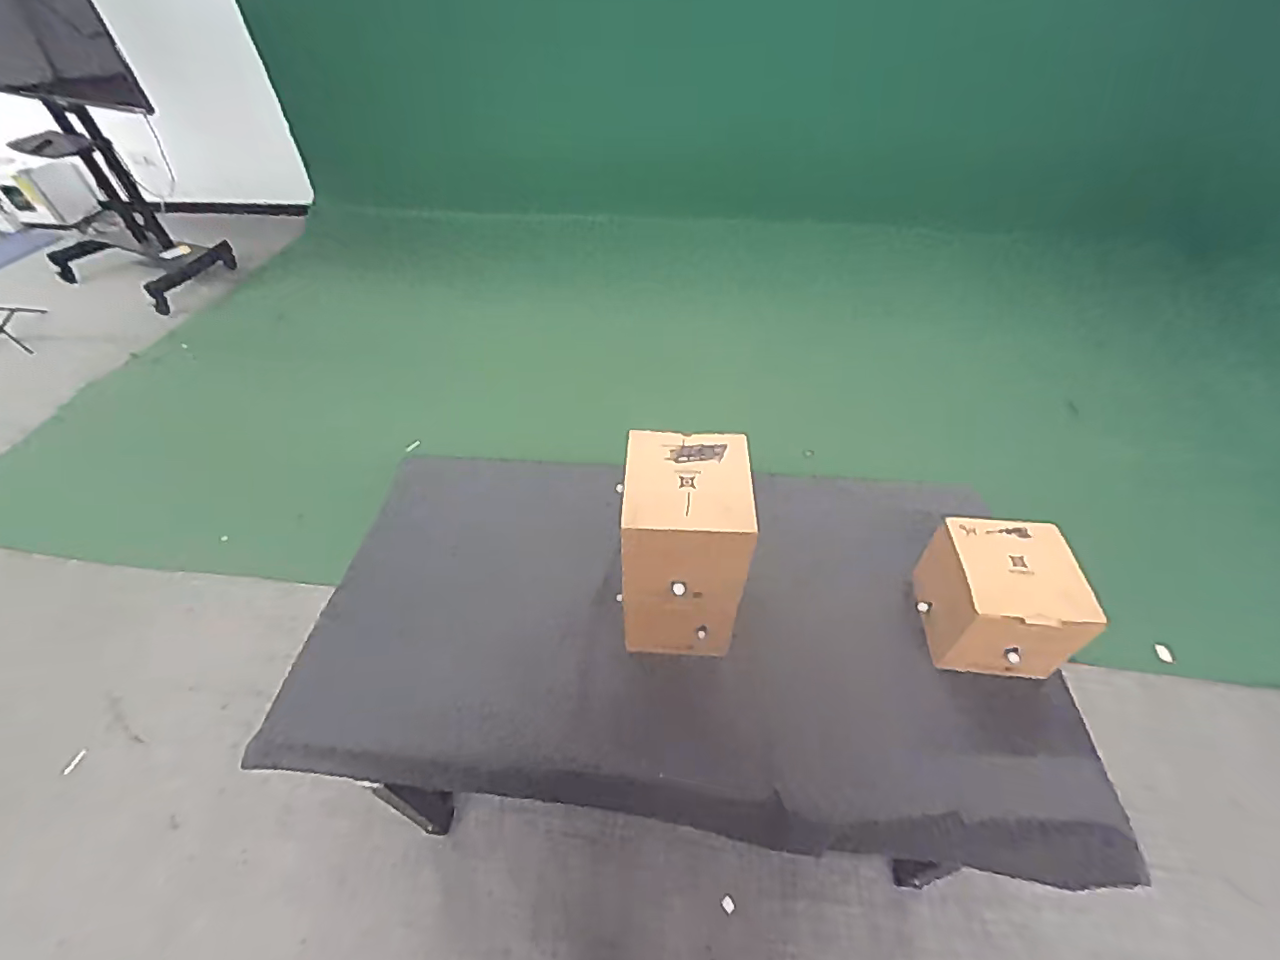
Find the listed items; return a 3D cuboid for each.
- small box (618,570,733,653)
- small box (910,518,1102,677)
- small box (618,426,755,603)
[{"bbox_3d":[0.056,0.159,0.866,0.168,0.176,0.179,3,45,2],"label":"small box"},{"bbox_3d":[0.541,0.183,0.832,0.168,0.176,0.179,5,47,6],"label":"small box"},{"bbox_3d":[0.058,0.047,0.746,0.168,0.176,0.179,3,47,2],"label":"small box"}]
